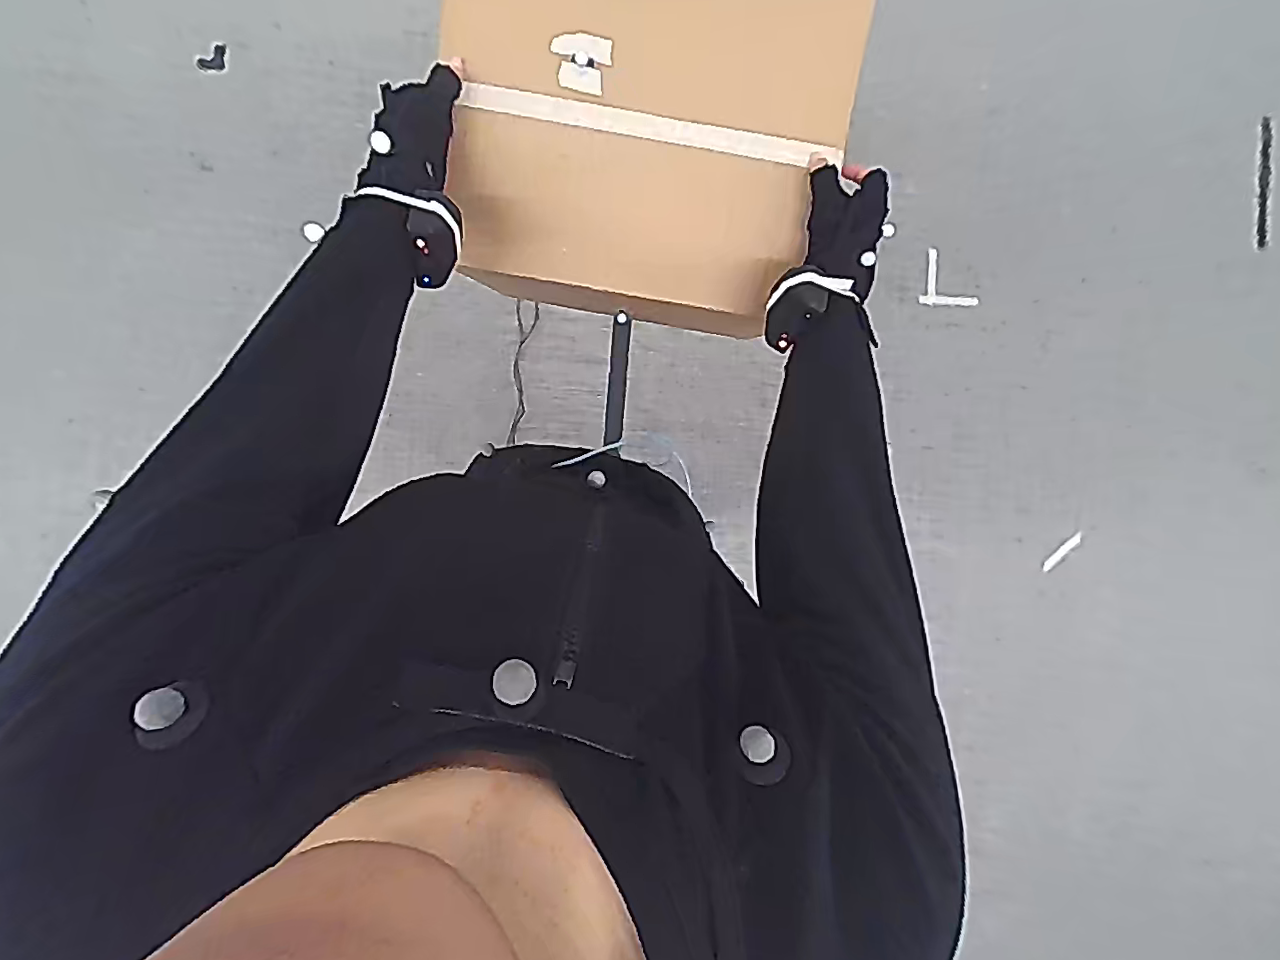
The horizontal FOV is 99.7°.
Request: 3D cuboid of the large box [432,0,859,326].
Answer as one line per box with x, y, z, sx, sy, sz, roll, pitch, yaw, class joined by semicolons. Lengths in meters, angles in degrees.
0.000;-0.386;0.689;0.408;0.320;0.320;9;101;-1;large box
